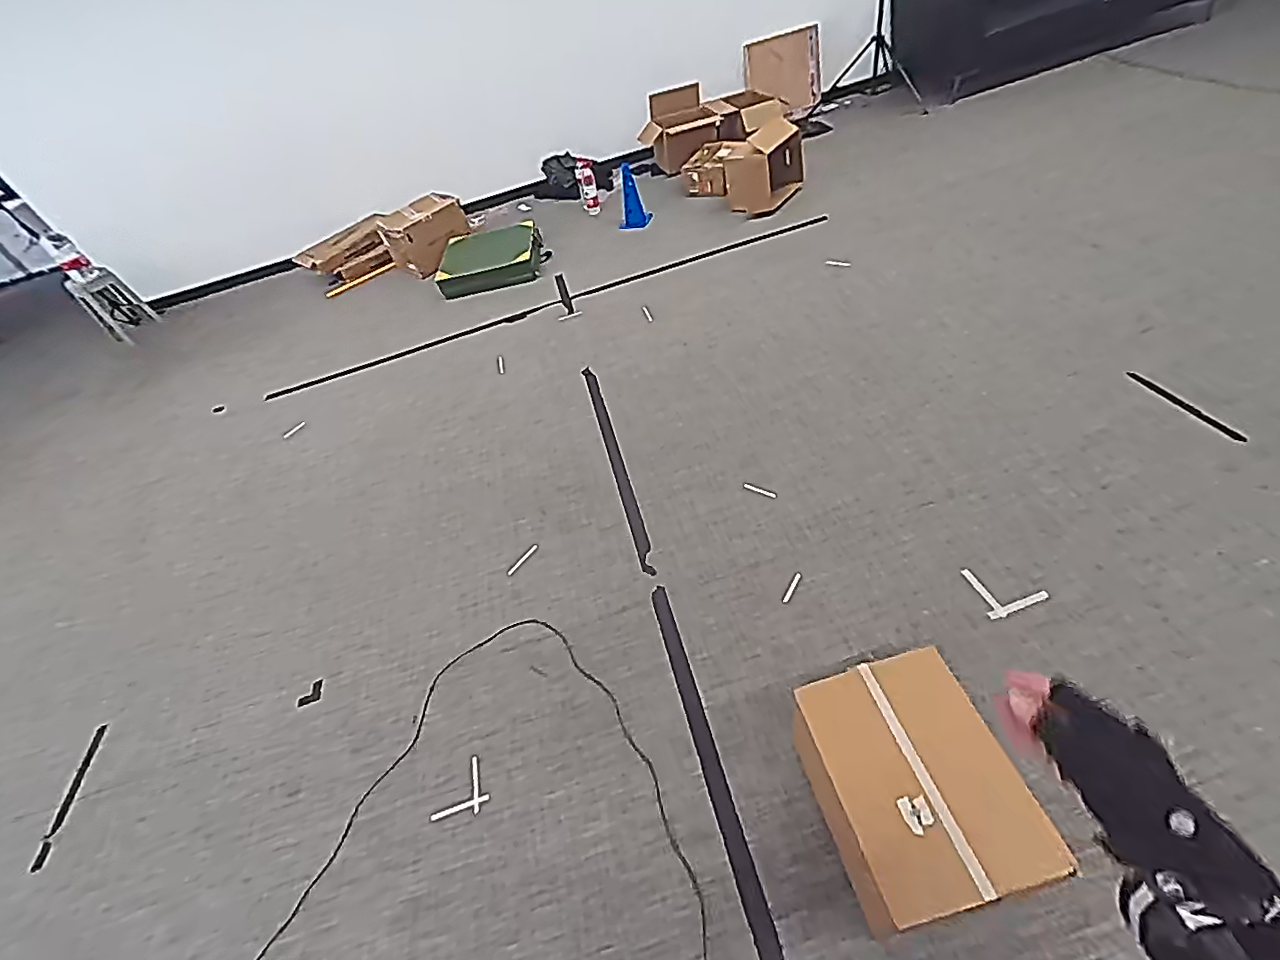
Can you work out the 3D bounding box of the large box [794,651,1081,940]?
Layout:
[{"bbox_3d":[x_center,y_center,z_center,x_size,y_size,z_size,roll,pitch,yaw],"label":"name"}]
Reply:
[{"bbox_3d":[0.543,0.636,1.103,0.320,0.320,0.408,-18,47,-1],"label":"large box"}]
